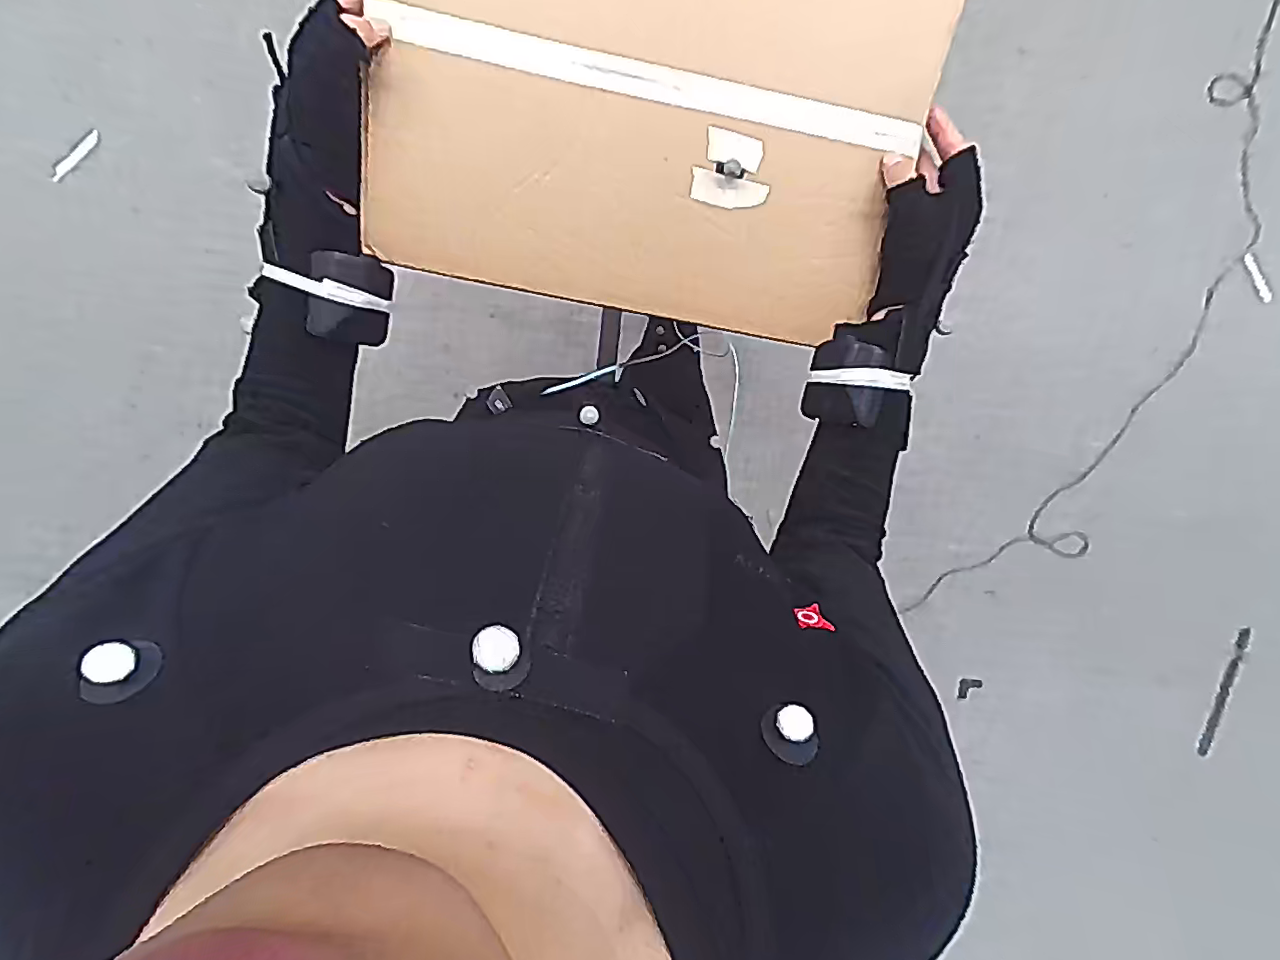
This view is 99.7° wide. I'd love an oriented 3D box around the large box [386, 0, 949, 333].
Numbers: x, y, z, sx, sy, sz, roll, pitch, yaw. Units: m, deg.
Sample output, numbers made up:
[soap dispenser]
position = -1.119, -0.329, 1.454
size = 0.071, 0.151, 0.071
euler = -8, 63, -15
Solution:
[large box]
position = 0.007, -0.346, 0.544
size = 0.408, 0.320, 0.320
euler = 9, 110, -6
